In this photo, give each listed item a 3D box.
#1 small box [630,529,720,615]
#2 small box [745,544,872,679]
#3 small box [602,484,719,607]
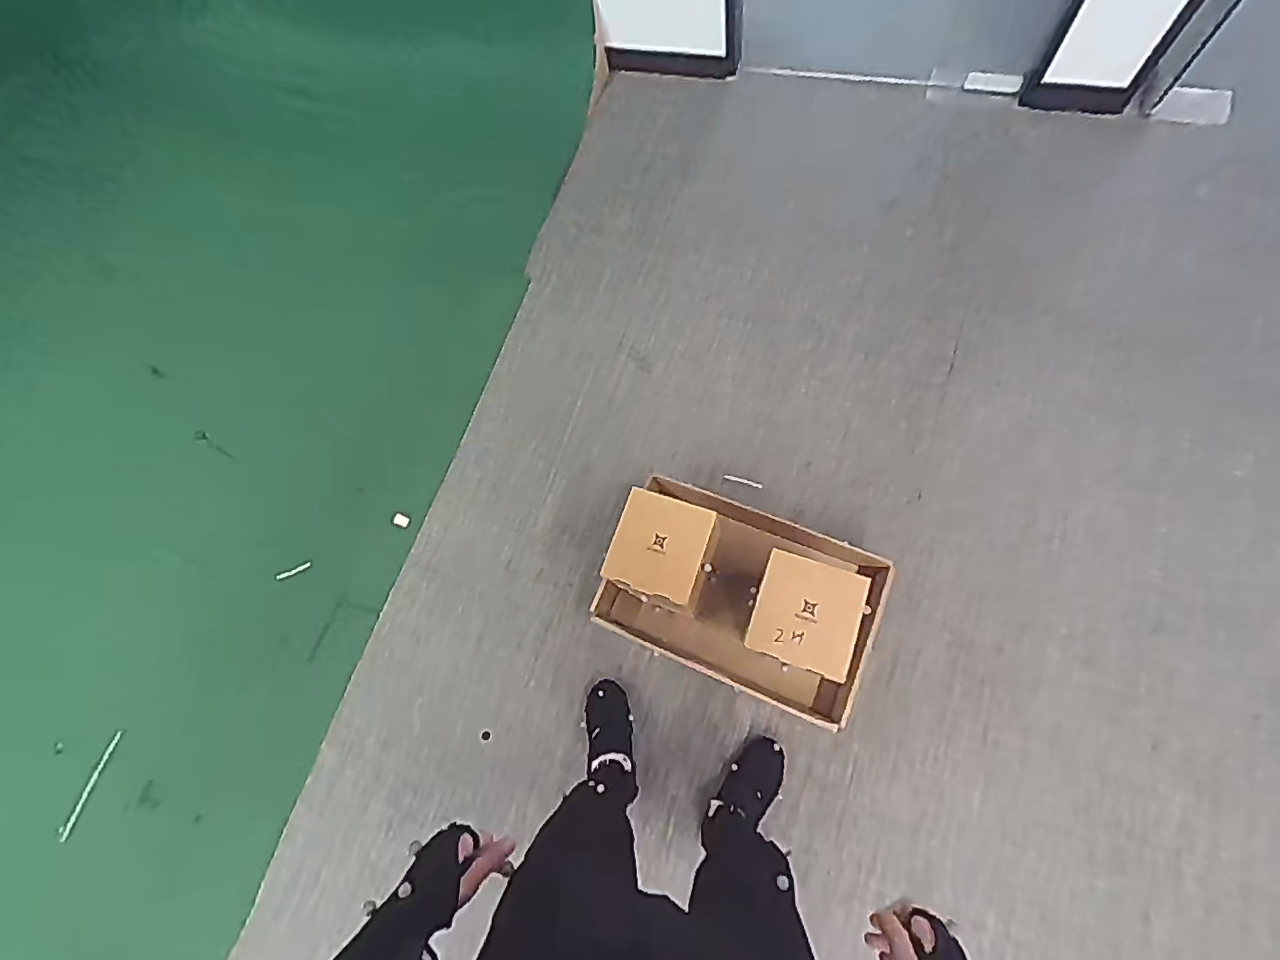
[{"bbox_3d":[0.071,0.181,1.184,0.168,0.176,0.179,18,76,16],"label":"small box"},{"bbox_3d":[0.287,0.232,0.954,0.168,0.176,0.179,17,77,16],"label":"small box"},{"bbox_3d":[0.046,0.130,1.032,0.168,0.176,0.179,17,77,14],"label":"small box"}]
